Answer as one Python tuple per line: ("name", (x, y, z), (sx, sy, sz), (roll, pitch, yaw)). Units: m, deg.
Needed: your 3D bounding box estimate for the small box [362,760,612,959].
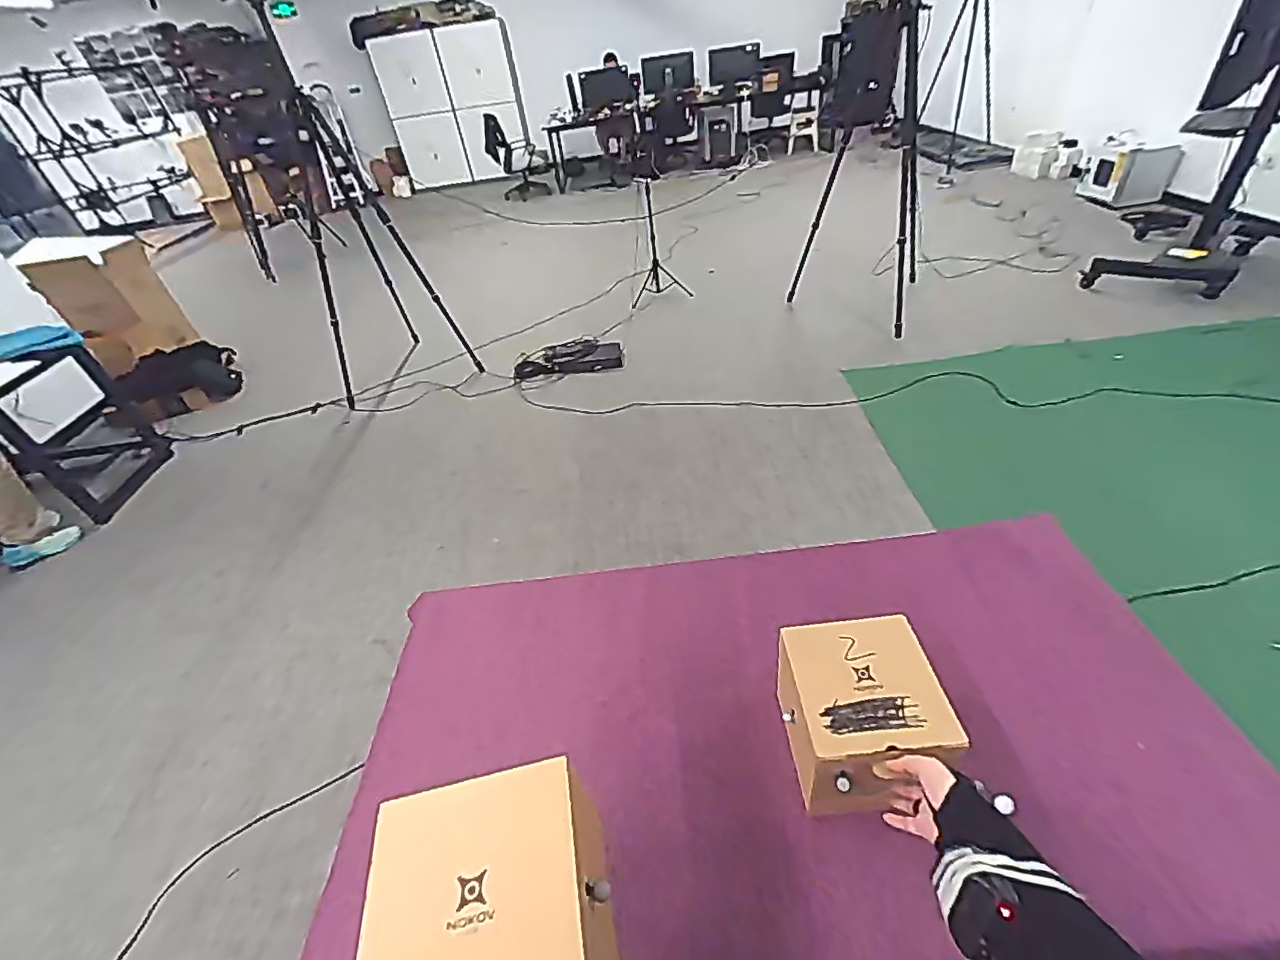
("small box", (-0.121, 0.384, 0.474), (0.168, 0.176, 0.179), (-13, 41, -4))
